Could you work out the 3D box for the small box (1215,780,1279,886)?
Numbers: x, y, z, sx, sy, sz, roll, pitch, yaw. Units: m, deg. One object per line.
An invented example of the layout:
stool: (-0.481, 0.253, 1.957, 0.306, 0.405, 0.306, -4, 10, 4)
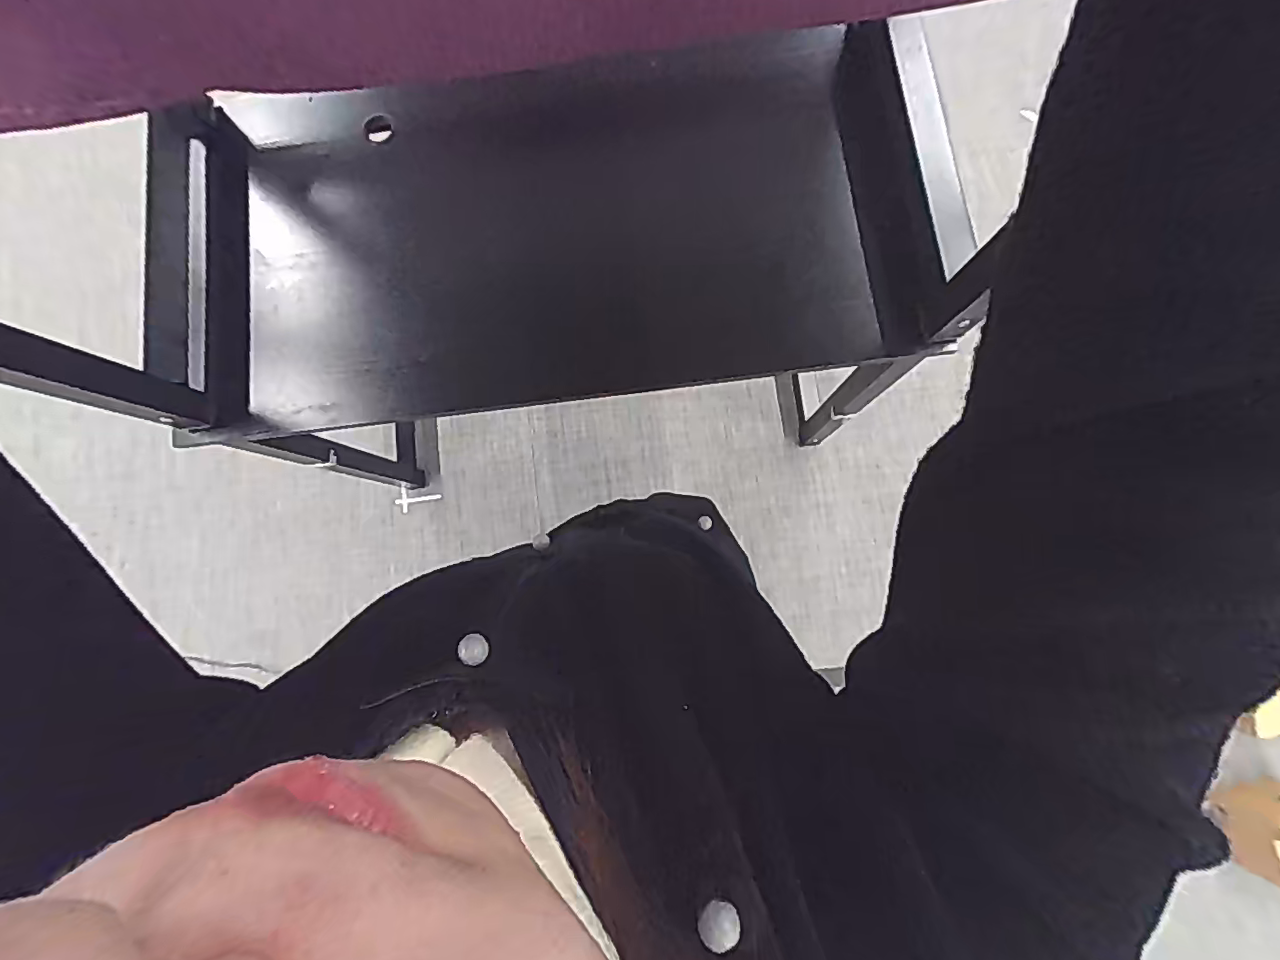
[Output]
small box: (1.491, 0.820, 1.237, 0.179, 0.176, 0.168, -14, 82, 1)
